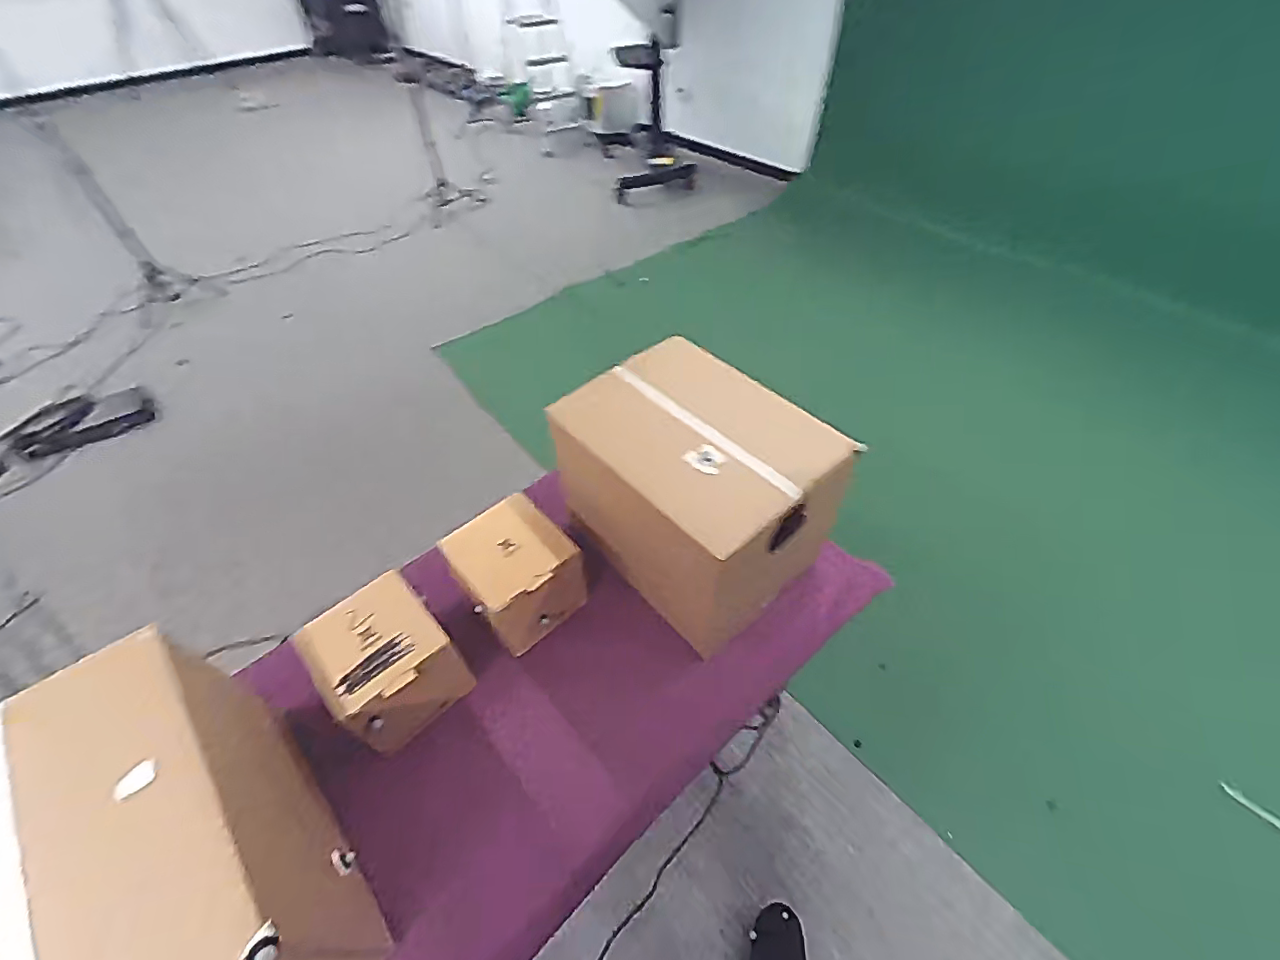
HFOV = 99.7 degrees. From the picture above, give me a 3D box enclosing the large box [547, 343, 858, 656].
[{"bbox_3d":[0.091,0.023,0.966,0.320,0.320,0.408,-35,57,-25],"label":"large box"}]
